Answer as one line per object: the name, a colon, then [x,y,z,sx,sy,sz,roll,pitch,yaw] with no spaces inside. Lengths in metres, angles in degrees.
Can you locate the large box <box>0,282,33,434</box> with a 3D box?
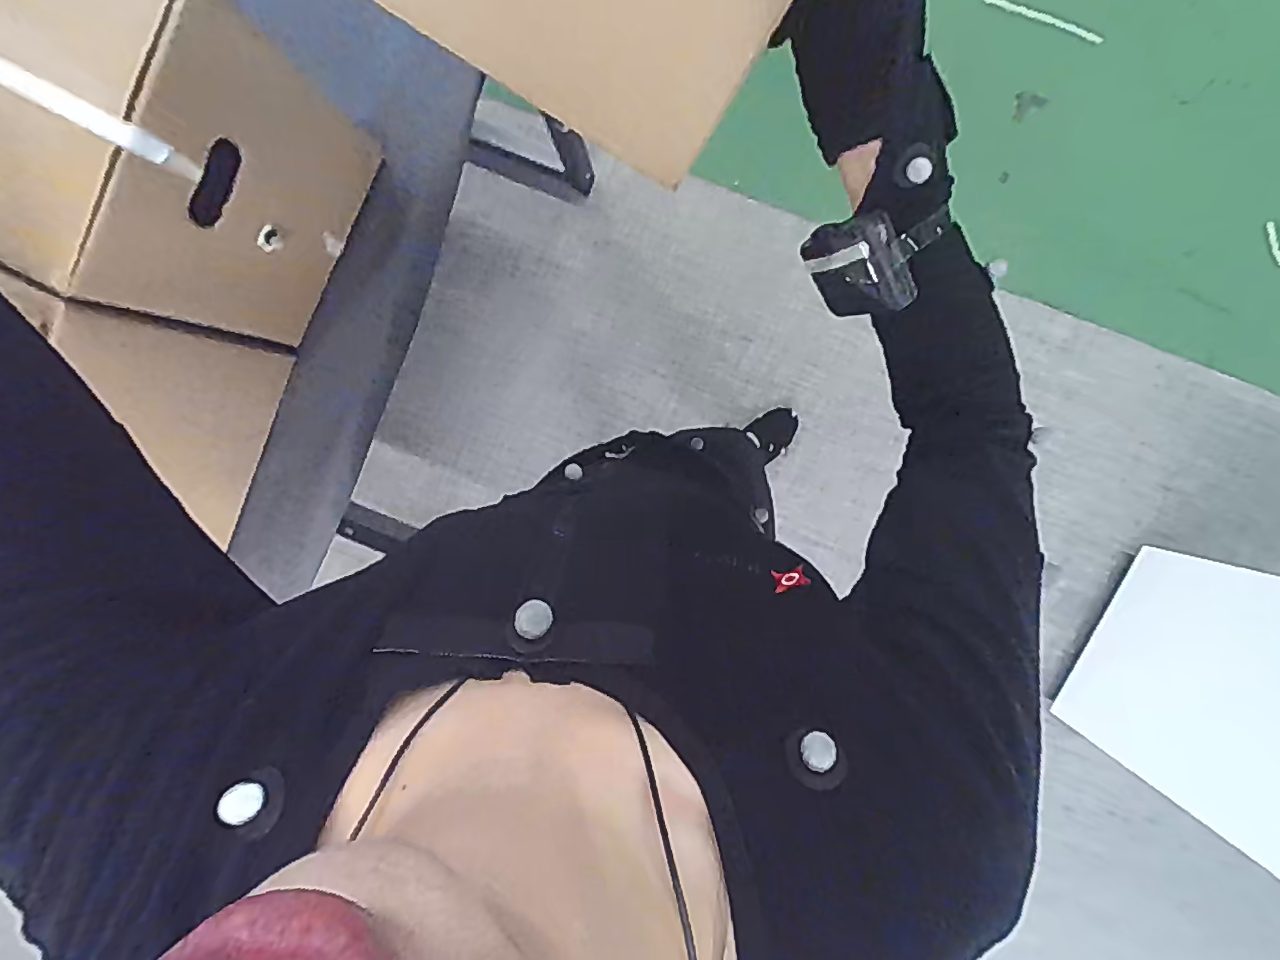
large box: [-0.754,-0.026,0.357,0.320,0.320,0.408,24,96,2]
